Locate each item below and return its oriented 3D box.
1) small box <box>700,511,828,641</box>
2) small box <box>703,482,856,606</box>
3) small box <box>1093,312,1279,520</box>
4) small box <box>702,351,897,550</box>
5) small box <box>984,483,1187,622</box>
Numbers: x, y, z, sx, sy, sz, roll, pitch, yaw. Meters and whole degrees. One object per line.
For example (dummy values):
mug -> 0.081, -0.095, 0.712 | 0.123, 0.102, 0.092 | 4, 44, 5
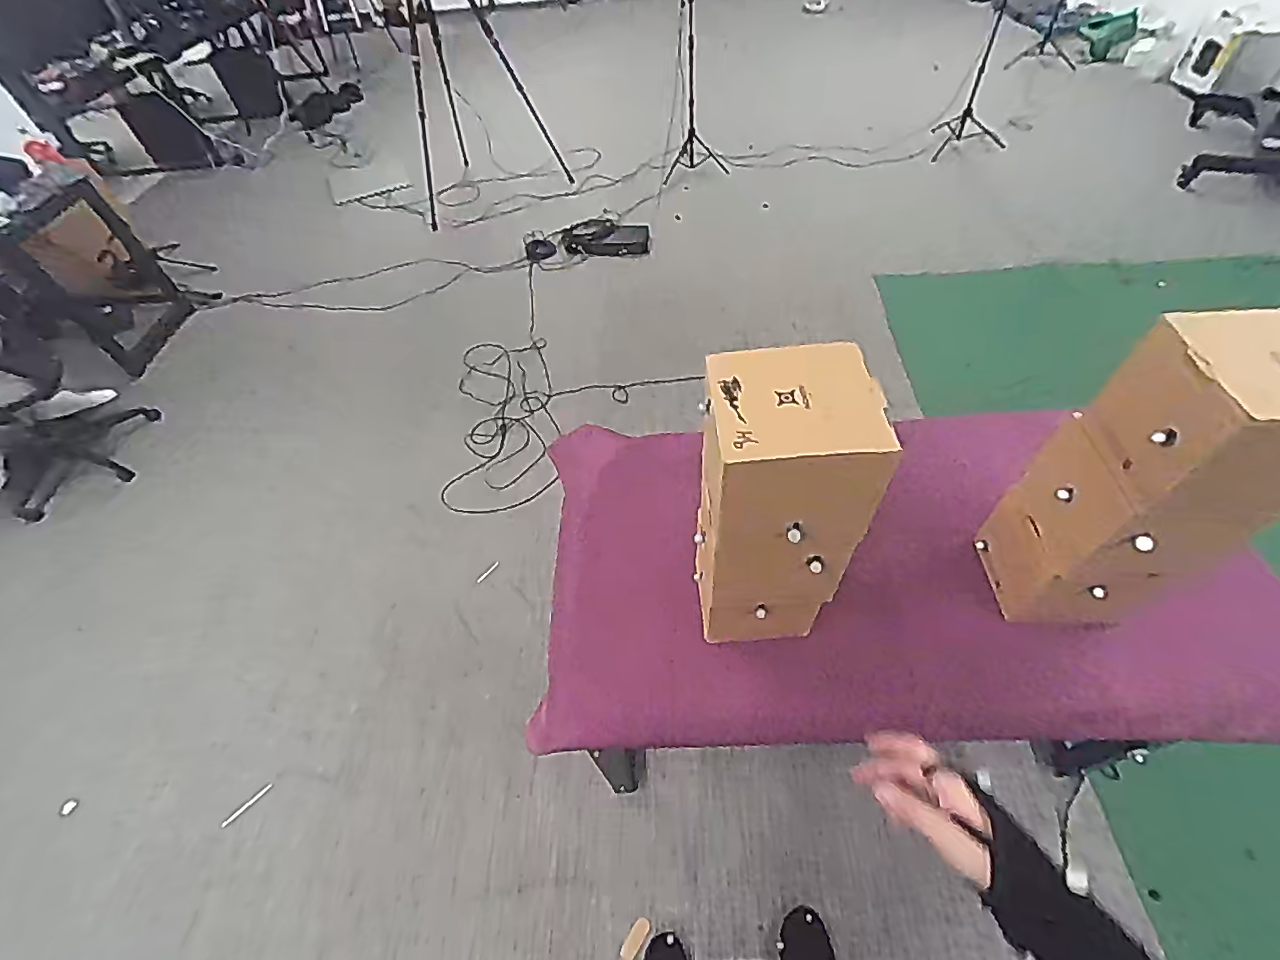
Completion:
small box -> 0.194, 0.158, 0.906 | 0.179, 0.176, 0.168 | -5, 52, 3
small box -> 0.182, 0.068, 0.767 | 0.179, 0.176, 0.168 | -4, 51, 4
small box -> 0.661, -0.067, 0.606 | 0.179, 0.176, 0.168 | 1, 53, 7
small box -> 0.168, -0.030, 0.636 | 0.179, 0.176, 0.168 | -3, 52, 3
small box -> 0.690, 0.120, 0.873 | 0.179, 0.176, 0.168 | -1, 52, 6
